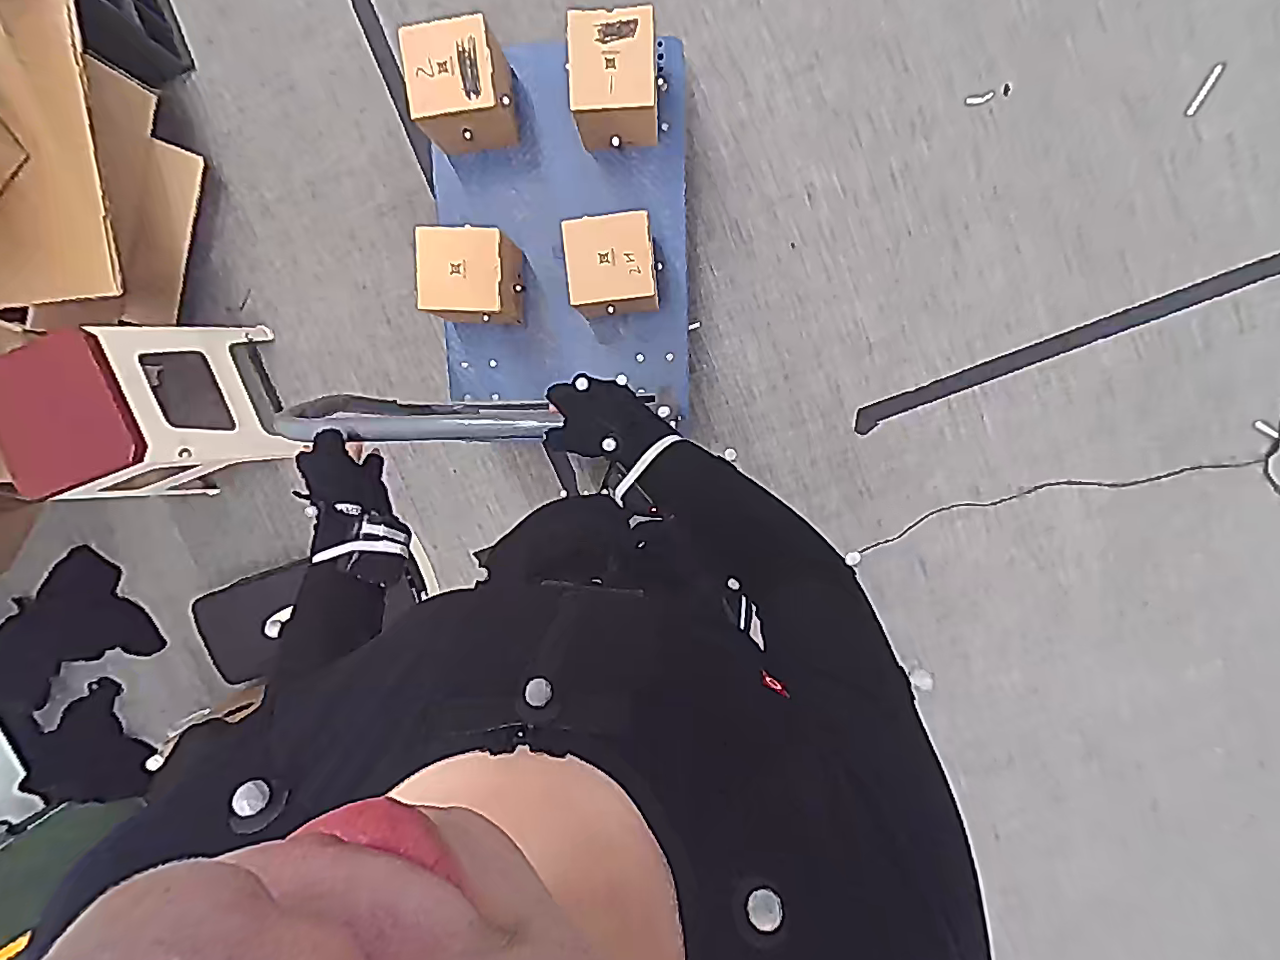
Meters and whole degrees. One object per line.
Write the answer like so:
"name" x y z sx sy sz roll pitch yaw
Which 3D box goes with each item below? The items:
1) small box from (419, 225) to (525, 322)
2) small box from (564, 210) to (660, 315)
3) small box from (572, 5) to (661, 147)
"small box" -0.360 -0.442 1.180 0.179 0.176 0.168 2 98 2
"small box" -0.053 -0.454 1.155 0.179 0.176 0.168 -5 98 5
"small box" -0.043 -0.812 1.101 0.168 0.176 0.179 0 100 4
